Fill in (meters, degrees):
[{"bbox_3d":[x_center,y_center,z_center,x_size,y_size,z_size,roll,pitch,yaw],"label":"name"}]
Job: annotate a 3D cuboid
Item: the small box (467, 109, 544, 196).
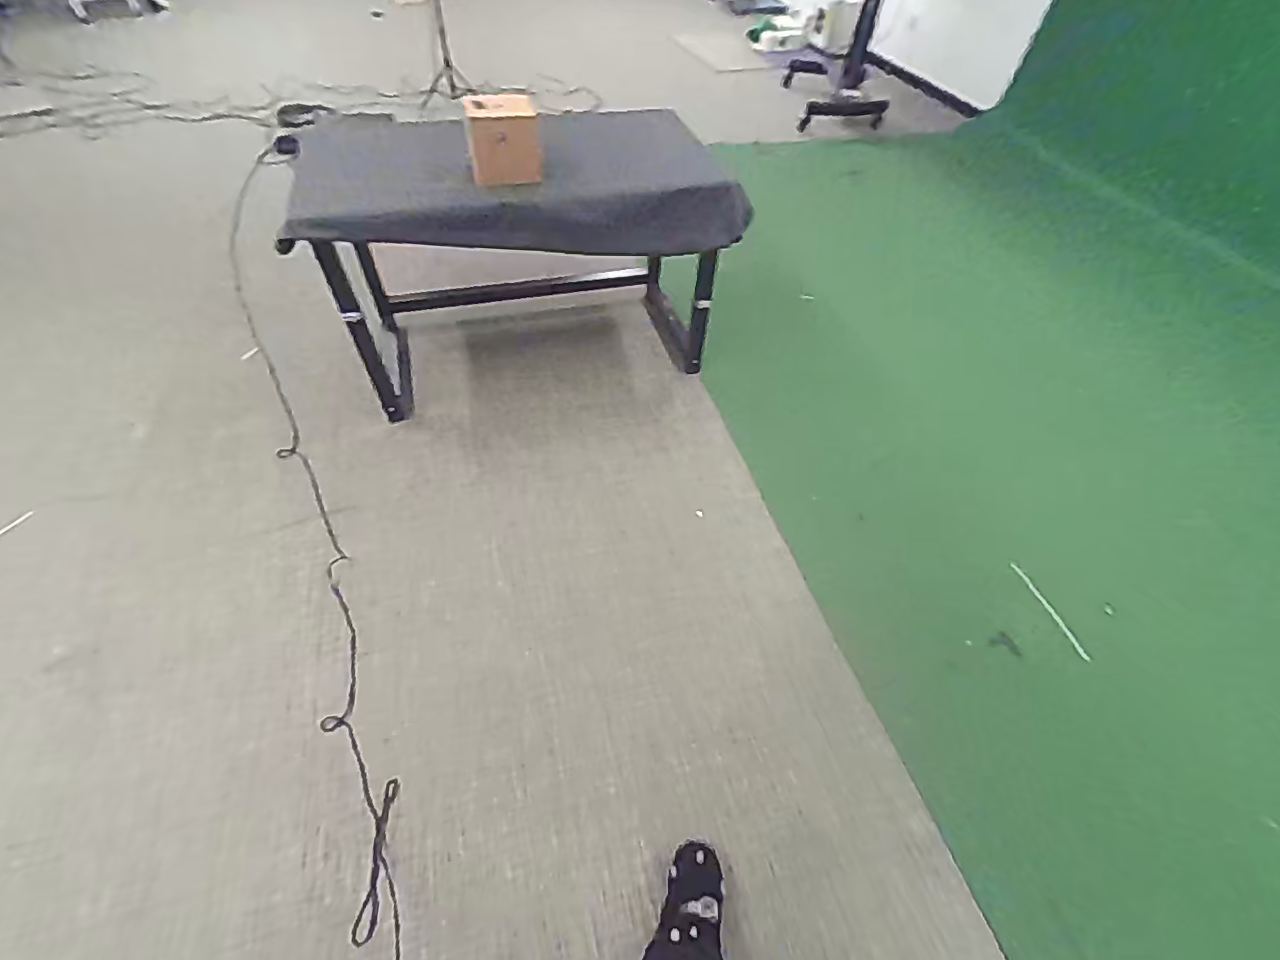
[{"bbox_3d":[-0.372,-0.910,1.507,0.179,0.176,0.168,-11,52,-13],"label":"small box"}]
